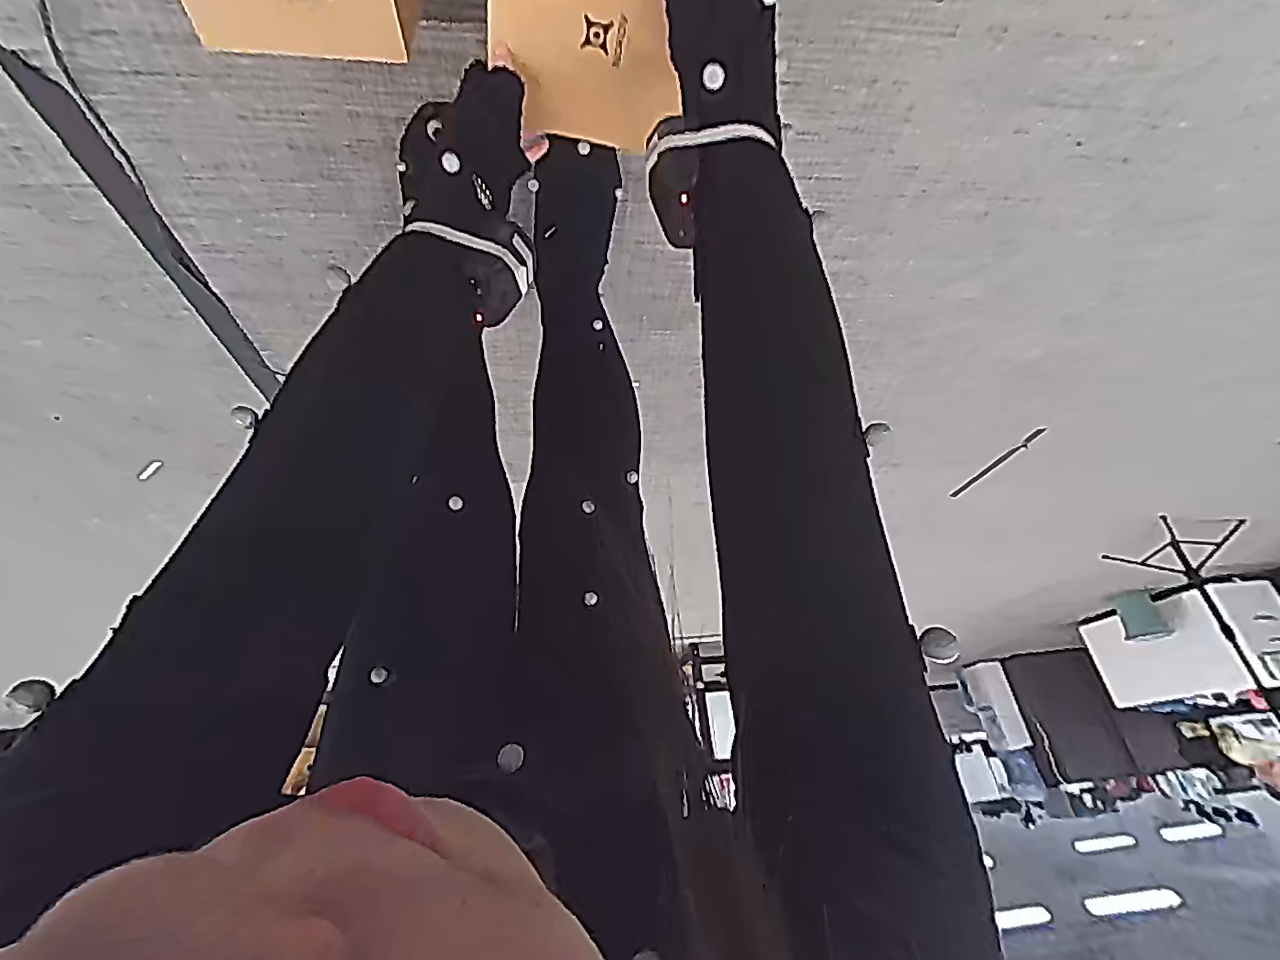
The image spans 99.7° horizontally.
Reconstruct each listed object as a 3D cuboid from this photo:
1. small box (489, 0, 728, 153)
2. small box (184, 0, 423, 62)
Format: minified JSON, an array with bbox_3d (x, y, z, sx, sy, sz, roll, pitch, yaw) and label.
[{"bbox_3d":[-0.029,-0.422,0.454,0.179,0.176,0.168,4,154,-13],"label":"small box"},{"bbox_3d":[-0.277,-0.476,0.425,0.168,0.176,0.179,-1,152,-7],"label":"small box"}]
